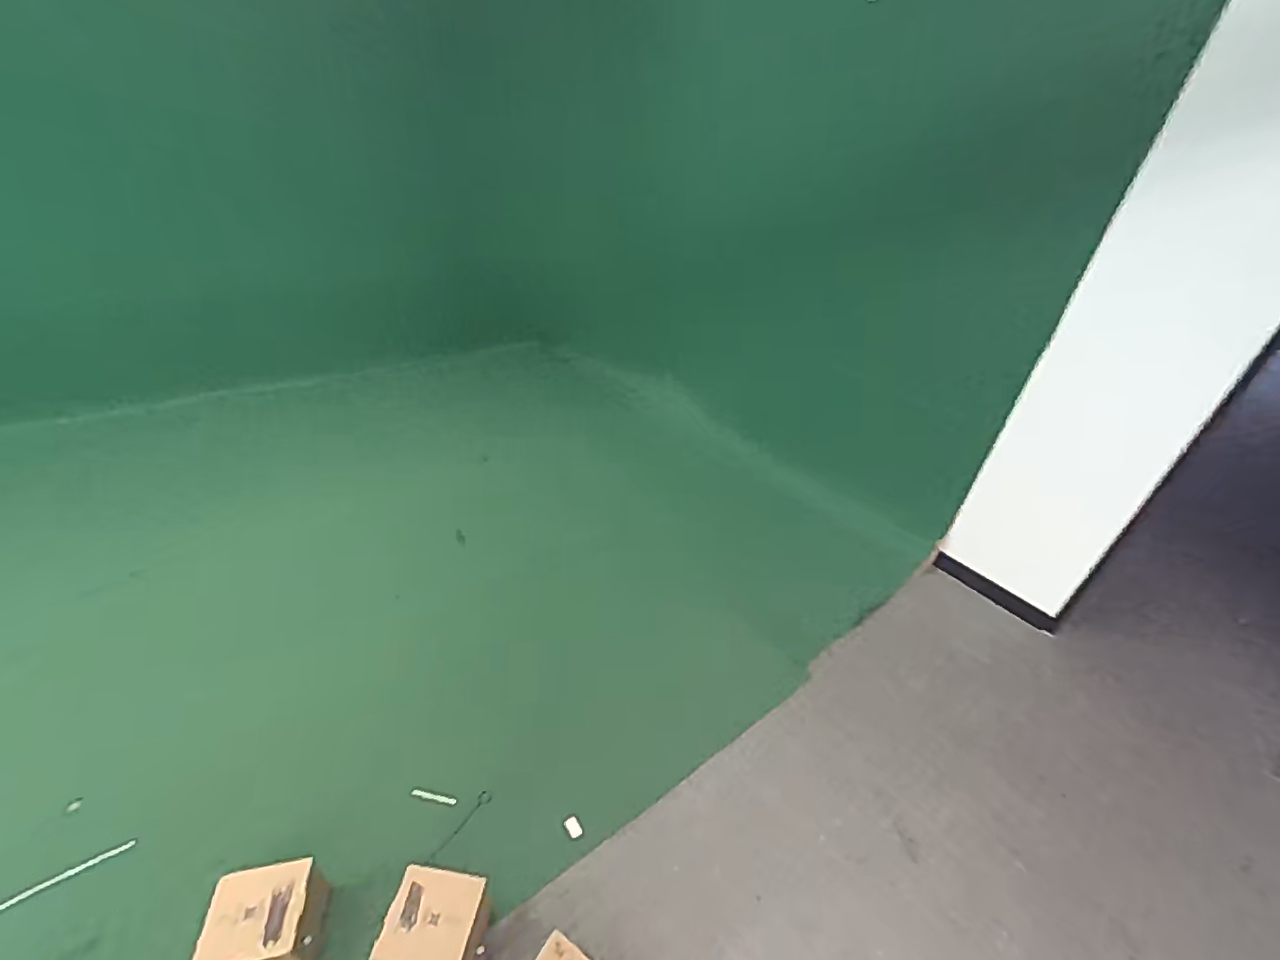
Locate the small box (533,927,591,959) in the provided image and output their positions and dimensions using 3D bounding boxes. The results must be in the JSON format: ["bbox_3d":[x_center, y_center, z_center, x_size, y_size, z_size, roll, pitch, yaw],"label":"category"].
[{"bbox_3d":[-0.158,1.040,1.049,0.168,0.176,0.179,25,39,25],"label":"small box"}]

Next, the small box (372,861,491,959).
[{"bbox_3d":[-0.428,0.948,1.142,0.179,0.176,0.168,9,35,3],"label":"small box"}]
